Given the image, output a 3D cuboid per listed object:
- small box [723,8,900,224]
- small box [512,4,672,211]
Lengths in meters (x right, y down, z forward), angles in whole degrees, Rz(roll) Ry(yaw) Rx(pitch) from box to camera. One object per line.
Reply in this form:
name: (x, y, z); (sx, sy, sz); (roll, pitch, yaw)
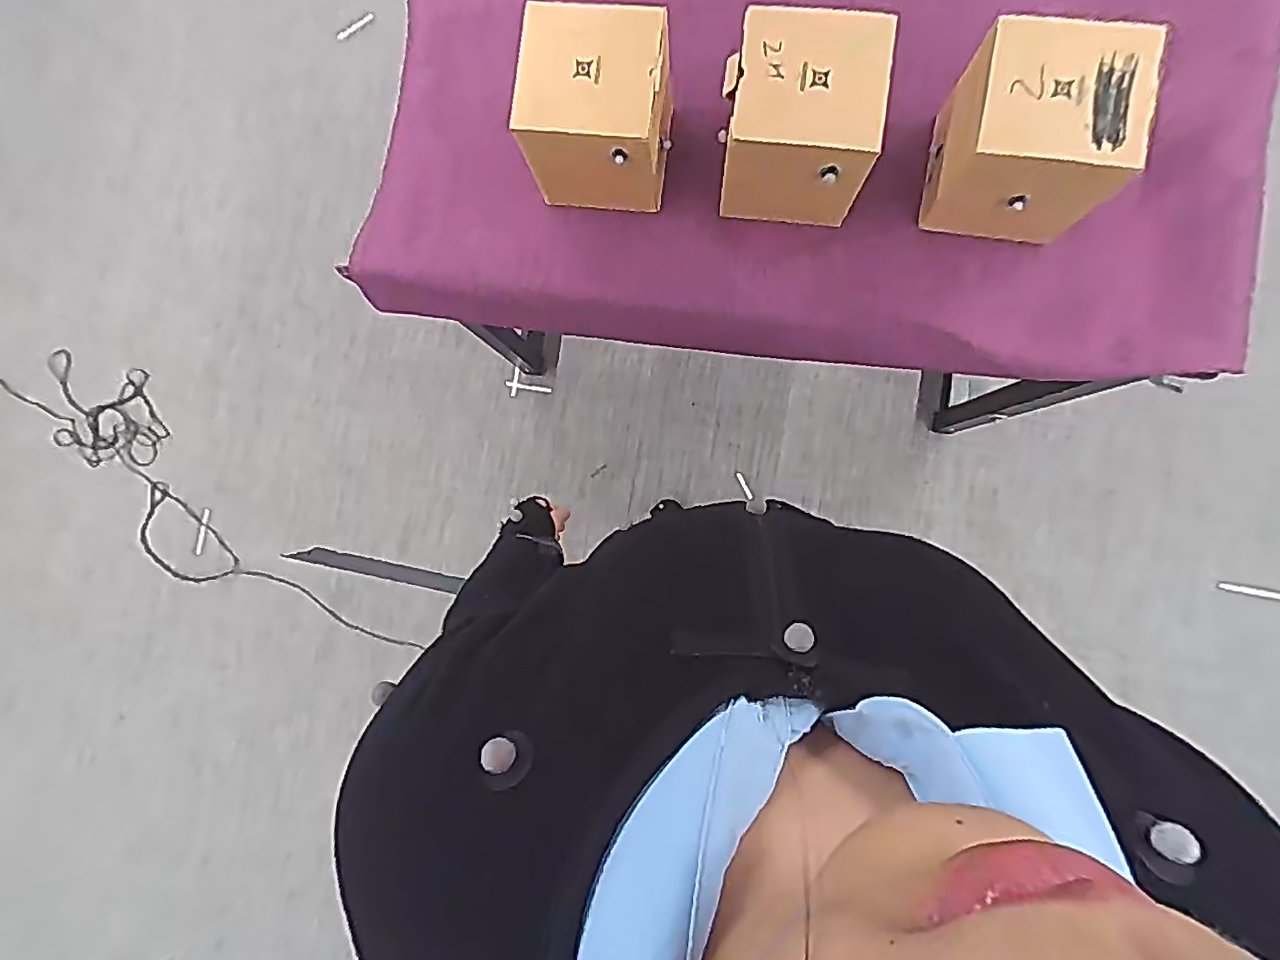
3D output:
small box: (0.209, -0.458, 0.705); (0.179, 0.176, 0.168); (8, 87, 6)
small box: (-0.054, -0.489, 0.732); (0.179, 0.176, 0.168); (6, 88, 5)
